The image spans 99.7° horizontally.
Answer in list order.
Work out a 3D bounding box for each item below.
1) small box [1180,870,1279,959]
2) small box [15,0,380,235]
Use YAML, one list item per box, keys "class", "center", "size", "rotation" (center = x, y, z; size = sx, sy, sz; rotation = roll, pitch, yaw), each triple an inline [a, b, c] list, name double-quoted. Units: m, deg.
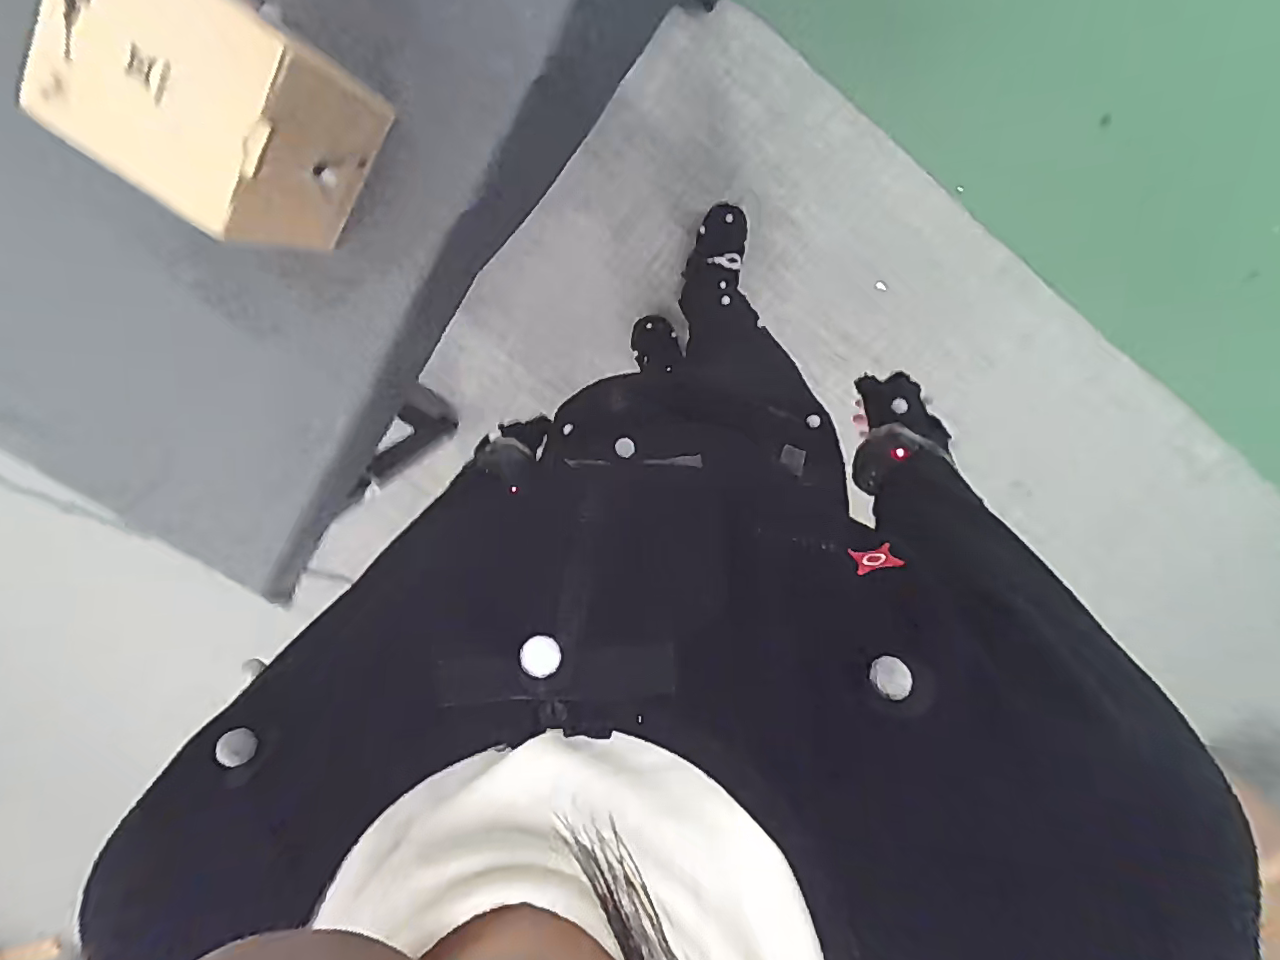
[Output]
- class: "small box"
  center: [1.587, 1.162, 1.399]
  size: [0.168, 0.176, 0.179]
  rotation: [36, 109, -8]
- class: "small box"
  center: [-0.380, -0.349, 0.497]
  size: [0.179, 0.176, 0.168]
  rotation: [35, 108, -10]
